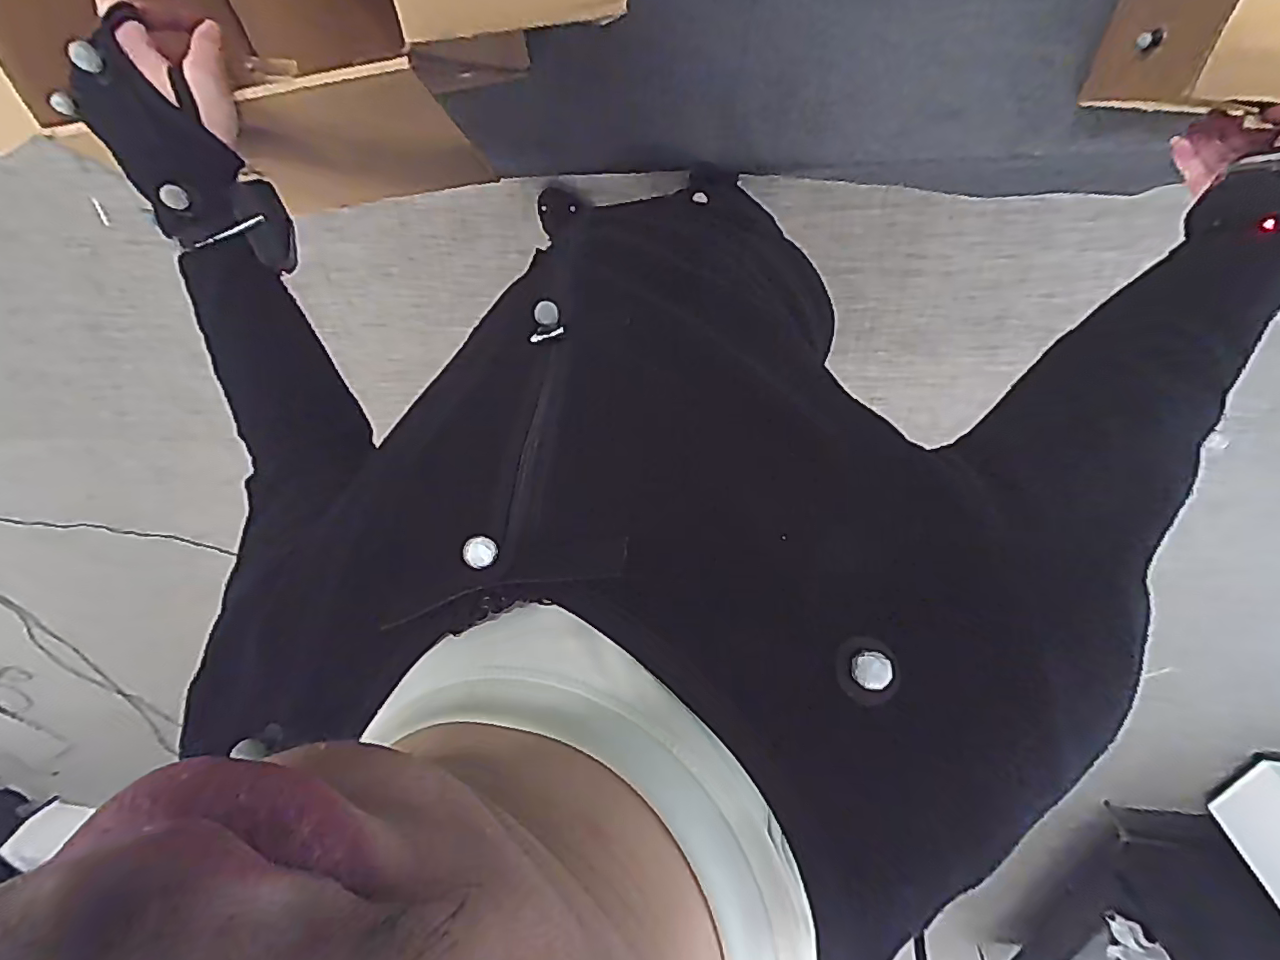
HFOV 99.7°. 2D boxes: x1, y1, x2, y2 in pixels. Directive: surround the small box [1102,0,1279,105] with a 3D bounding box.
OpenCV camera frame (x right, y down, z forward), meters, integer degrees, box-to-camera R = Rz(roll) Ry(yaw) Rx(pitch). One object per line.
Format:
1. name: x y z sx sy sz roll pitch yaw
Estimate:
1. small box: 0.541 -0.420 0.446 0.168 0.176 0.179 6 125 3
